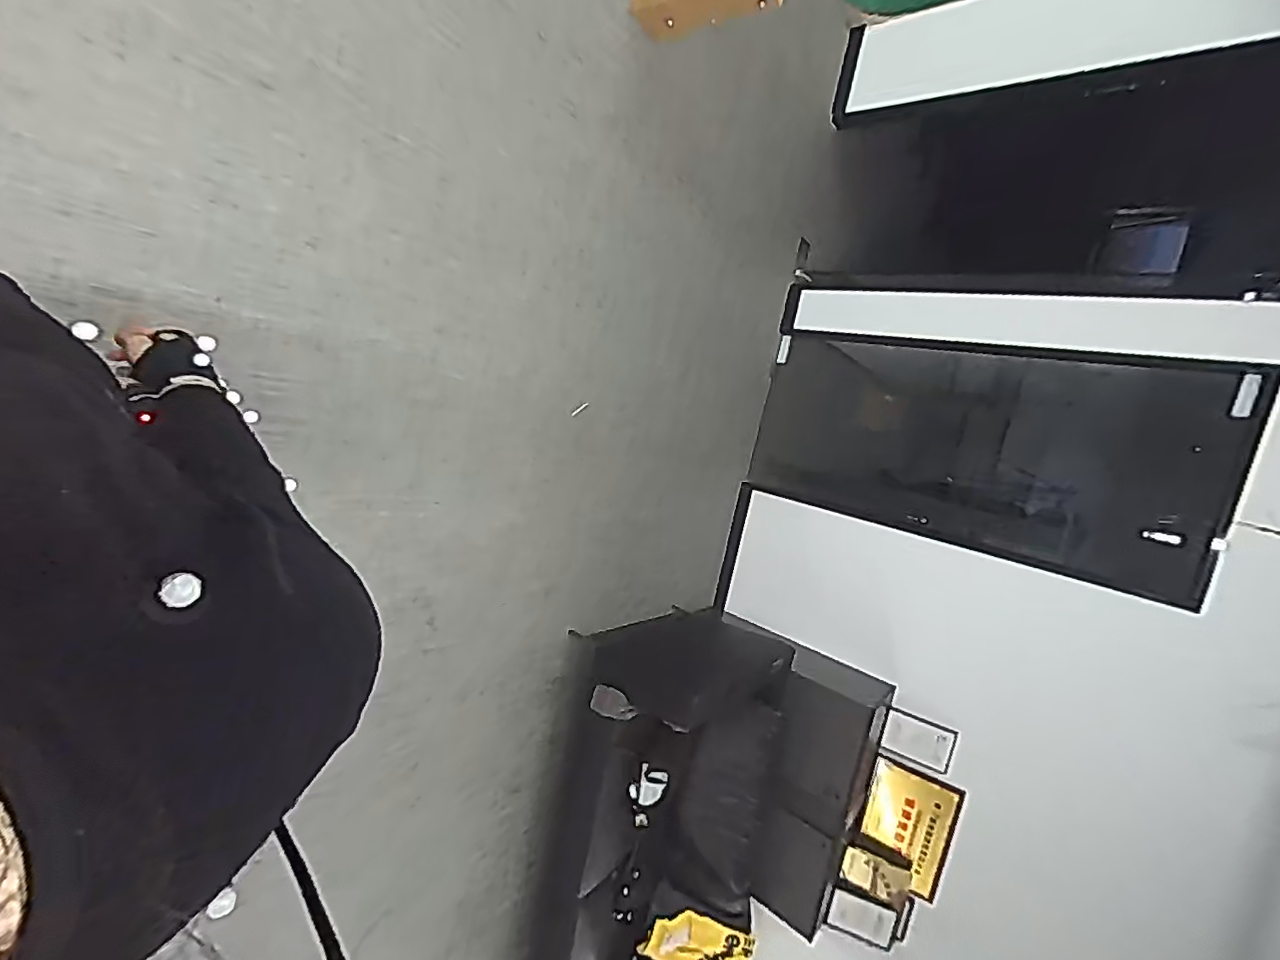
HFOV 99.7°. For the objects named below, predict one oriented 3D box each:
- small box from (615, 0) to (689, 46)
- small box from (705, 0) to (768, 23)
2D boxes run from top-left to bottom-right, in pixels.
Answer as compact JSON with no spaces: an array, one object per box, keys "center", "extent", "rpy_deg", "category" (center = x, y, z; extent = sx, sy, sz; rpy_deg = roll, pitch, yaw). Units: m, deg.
[{"center":[0.044,-1.650,1.870],"extent":[0.179,0.176,0.168],"rpy_deg":[5,100,-53],"category":"small box"},{"center":[0.300,-1.572,1.679],"extent":[0.179,0.176,0.168],"rpy_deg":[11,94,-54],"category":"small box"}]
